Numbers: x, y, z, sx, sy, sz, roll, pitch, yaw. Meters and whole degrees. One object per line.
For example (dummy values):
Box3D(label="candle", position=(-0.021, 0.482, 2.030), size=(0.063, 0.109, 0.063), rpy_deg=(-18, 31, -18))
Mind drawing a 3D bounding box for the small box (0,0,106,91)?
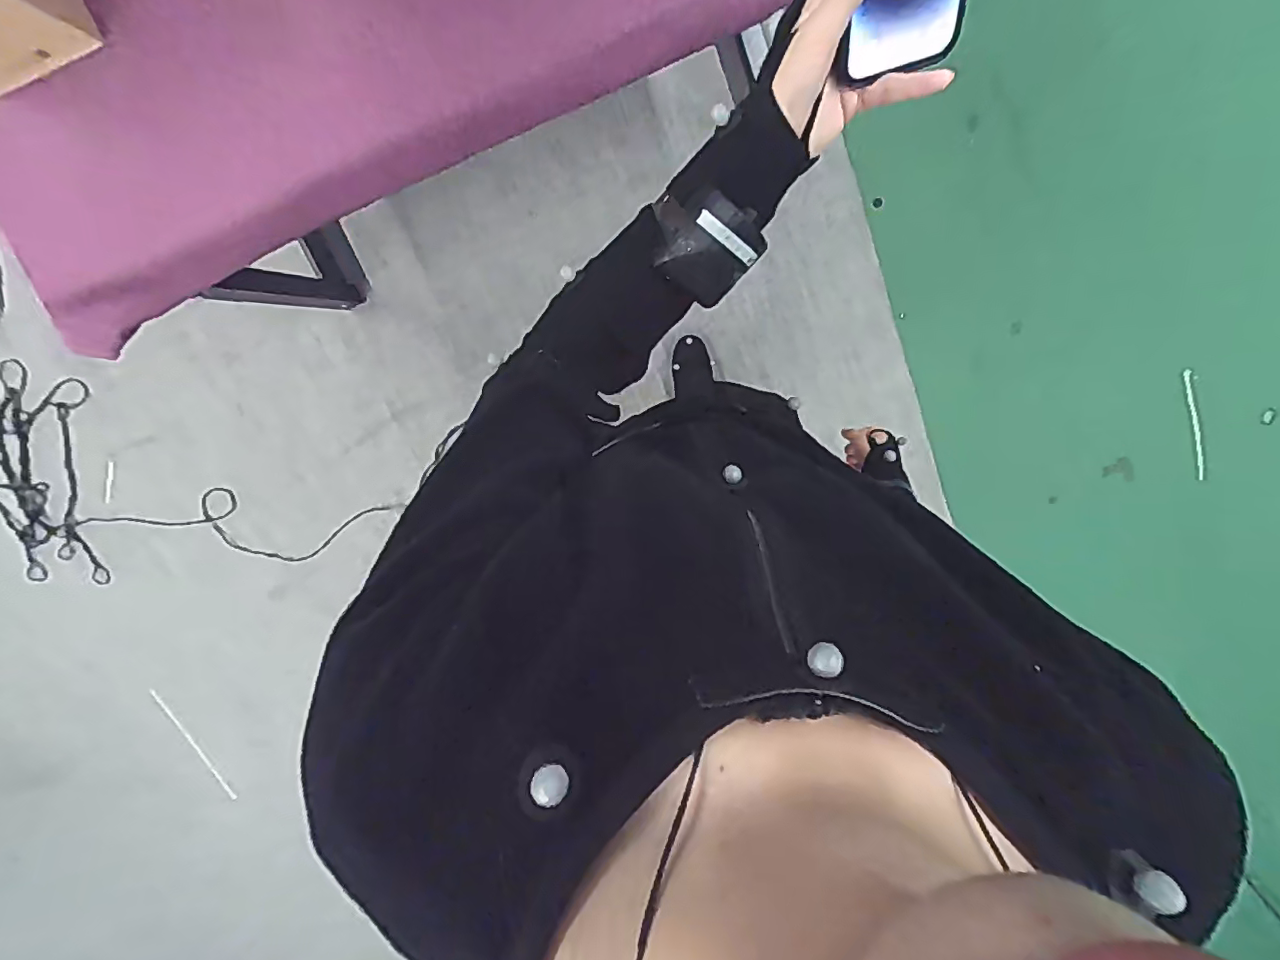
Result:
Box3D(label="small box", position=(-0.741, -0.551, 0.567), size=(0.168, 0.176, 0.179), rpy_deg=(-18, 103, 7))
